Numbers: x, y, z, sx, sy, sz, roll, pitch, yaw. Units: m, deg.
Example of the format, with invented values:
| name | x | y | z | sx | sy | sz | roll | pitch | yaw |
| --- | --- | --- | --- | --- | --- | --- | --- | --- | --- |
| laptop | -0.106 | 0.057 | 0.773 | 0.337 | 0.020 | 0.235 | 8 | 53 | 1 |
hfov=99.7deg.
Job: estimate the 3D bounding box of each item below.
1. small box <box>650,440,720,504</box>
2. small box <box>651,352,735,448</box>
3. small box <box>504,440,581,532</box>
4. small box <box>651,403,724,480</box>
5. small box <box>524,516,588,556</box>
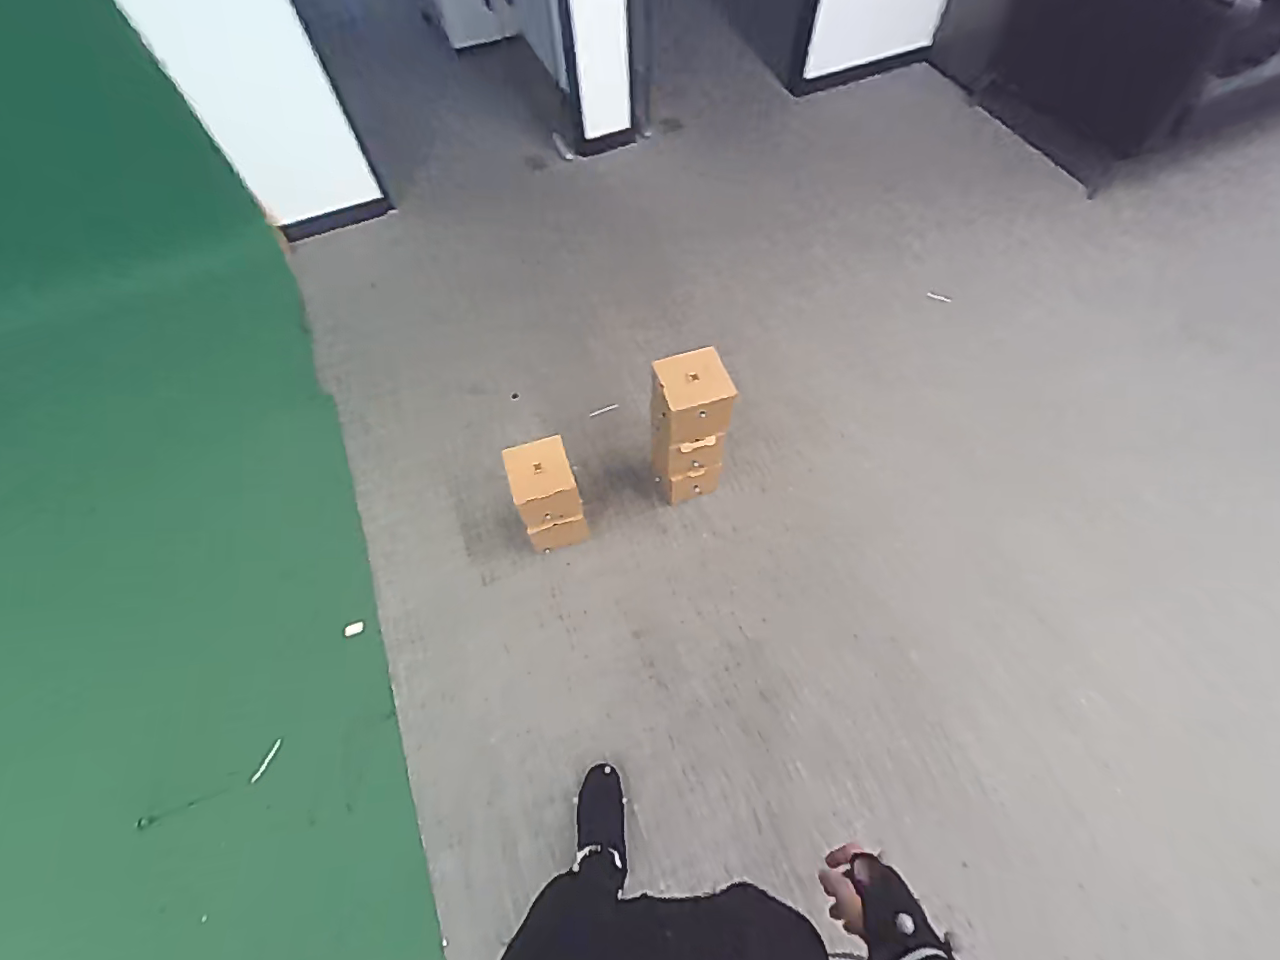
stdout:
| name | x | y | z | sx | sy | sz | roll | pitch | yaw |
| --- | --- | --- | --- | --- | --- | --- | --- | --- | --- |
| small box | 0.139 | -0.040 | 1.718 | 0.168 | 0.176 | 0.179 | -19 | 63 | -9 |
| small box | 0.135 | -0.206 | 1.435 | 0.179 | 0.176 | 0.168 | -16 | 63 | -7 |
| small box | -0.269 | 0.019 | 1.511 | 0.168 | 0.176 | 0.179 | -17 | 63 | -8 |
| small box | 0.132 | -0.127 | 1.578 | 0.168 | 0.176 | 0.179 | -16 | 62 | -6 |
| small box | -0.266 | 0.118 | 1.660 | 0.168 | 0.176 | 0.179 | -17 | 62 | -8 |
